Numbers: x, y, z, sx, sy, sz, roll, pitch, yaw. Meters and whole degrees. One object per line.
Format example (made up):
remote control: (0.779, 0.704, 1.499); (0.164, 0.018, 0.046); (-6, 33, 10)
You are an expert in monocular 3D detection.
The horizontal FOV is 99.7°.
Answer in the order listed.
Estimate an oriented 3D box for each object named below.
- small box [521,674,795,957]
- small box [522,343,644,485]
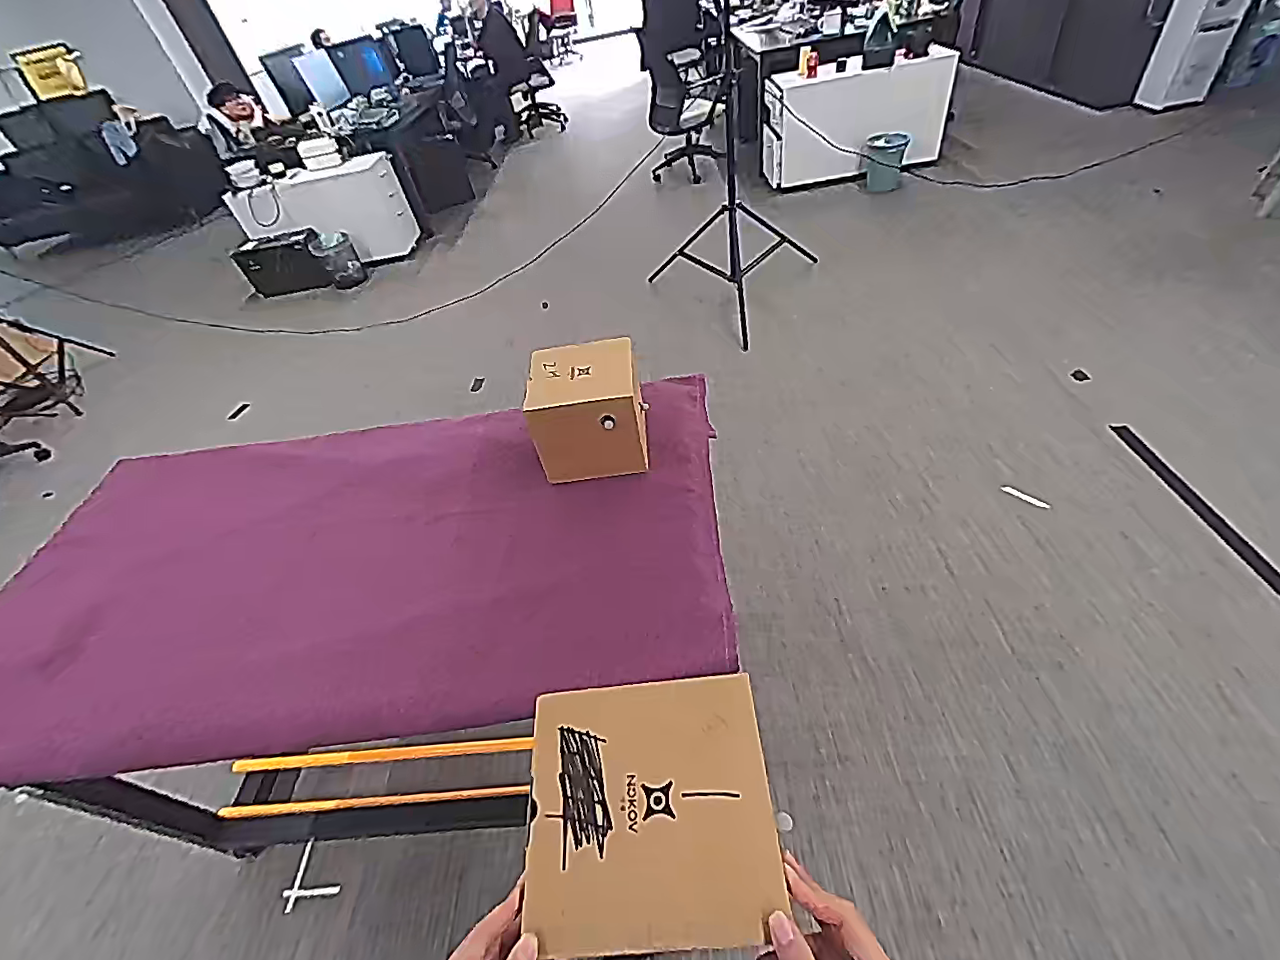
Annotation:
small box: (0.020, 0.278, 0.442); (0.179, 0.176, 0.168); (-9, 49, 5)
small box: (-0.087, -0.110, 0.932); (0.179, 0.176, 0.168); (-8, 45, 5)
